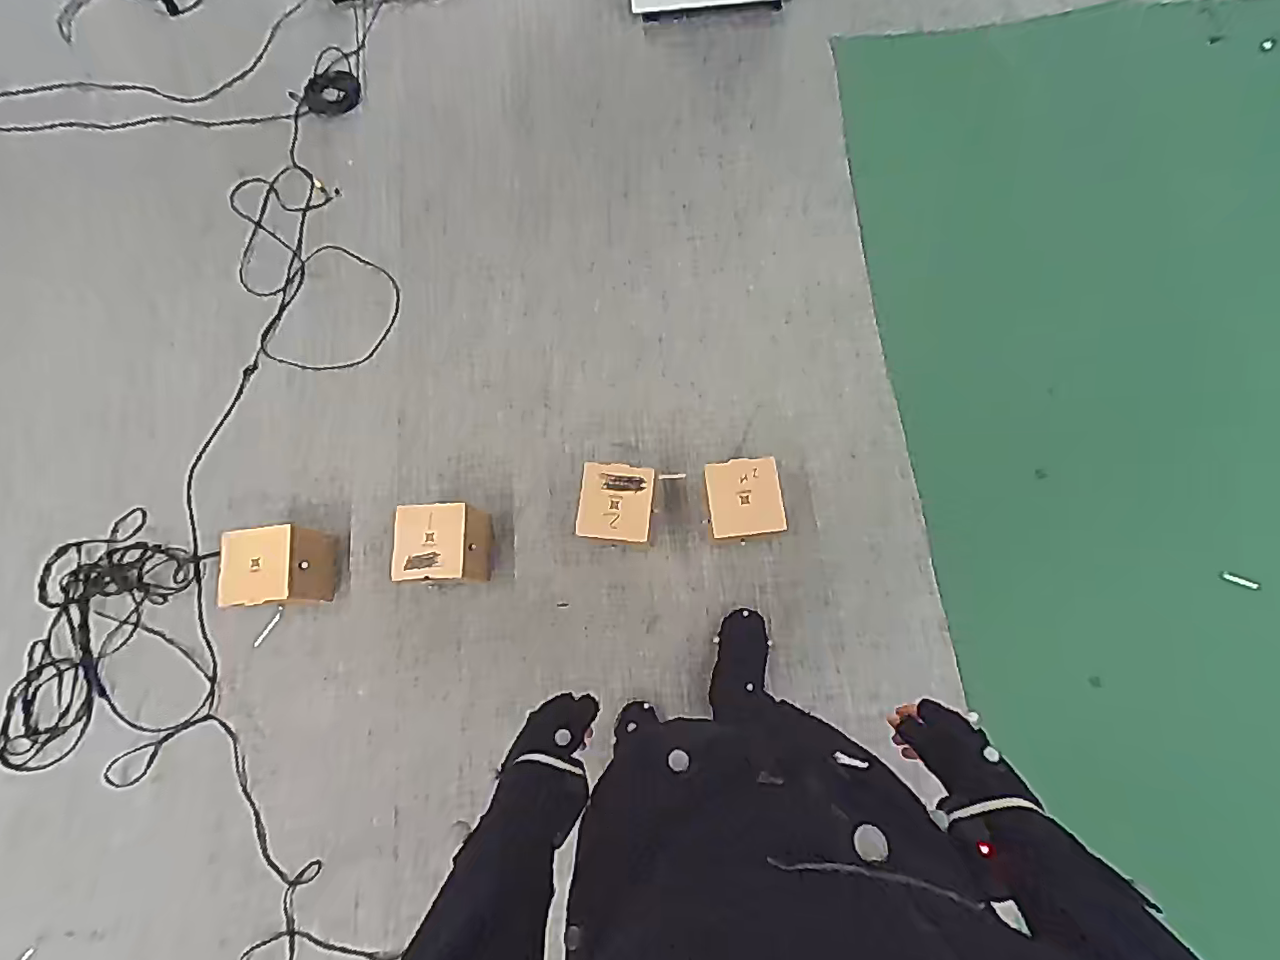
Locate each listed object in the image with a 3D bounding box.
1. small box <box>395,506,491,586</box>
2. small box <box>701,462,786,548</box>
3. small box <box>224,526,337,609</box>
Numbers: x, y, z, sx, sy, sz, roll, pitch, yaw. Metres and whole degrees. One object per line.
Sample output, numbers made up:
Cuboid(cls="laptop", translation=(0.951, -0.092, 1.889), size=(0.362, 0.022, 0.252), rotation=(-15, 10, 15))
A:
Cuboid(cls="small box", translation=(-0.471, 0.166, 1.314), size=(0.168, 0.176, 0.179), rotation=(-2, 75, 3))
Cuboid(cls="small box", translation=(0.241, 0.067, 1.300), size=(0.168, 0.176, 0.179), rotation=(-7, 76, 1))
Cuboid(cls="small box", translation=(-0.870, 0.220, 1.326), size=(0.168, 0.176, 0.179), rotation=(-7, 76, 2))
